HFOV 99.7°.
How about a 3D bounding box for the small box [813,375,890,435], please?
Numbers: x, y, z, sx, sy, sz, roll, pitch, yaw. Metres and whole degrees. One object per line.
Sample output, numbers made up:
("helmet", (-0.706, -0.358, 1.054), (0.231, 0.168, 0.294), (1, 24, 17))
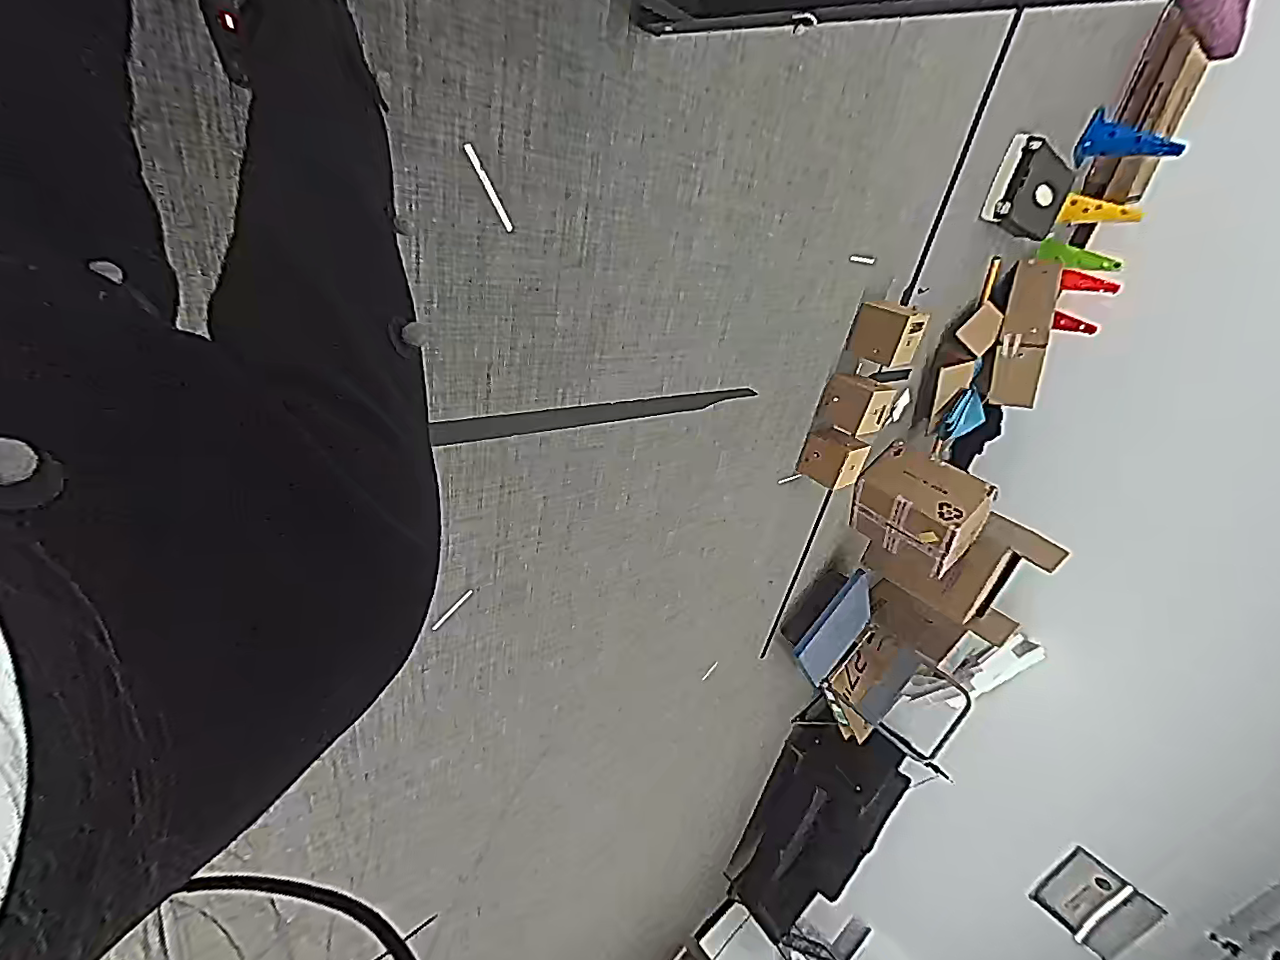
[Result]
("small box", (0.761, -0.277, 1.958), (0.179, 0.176, 0.168), (-12, 126, -42))

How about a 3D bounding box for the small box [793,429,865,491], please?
("small box", (0.720, -0.084, 2.069), (0.179, 0.176, 0.168), (-14, 128, -41))
